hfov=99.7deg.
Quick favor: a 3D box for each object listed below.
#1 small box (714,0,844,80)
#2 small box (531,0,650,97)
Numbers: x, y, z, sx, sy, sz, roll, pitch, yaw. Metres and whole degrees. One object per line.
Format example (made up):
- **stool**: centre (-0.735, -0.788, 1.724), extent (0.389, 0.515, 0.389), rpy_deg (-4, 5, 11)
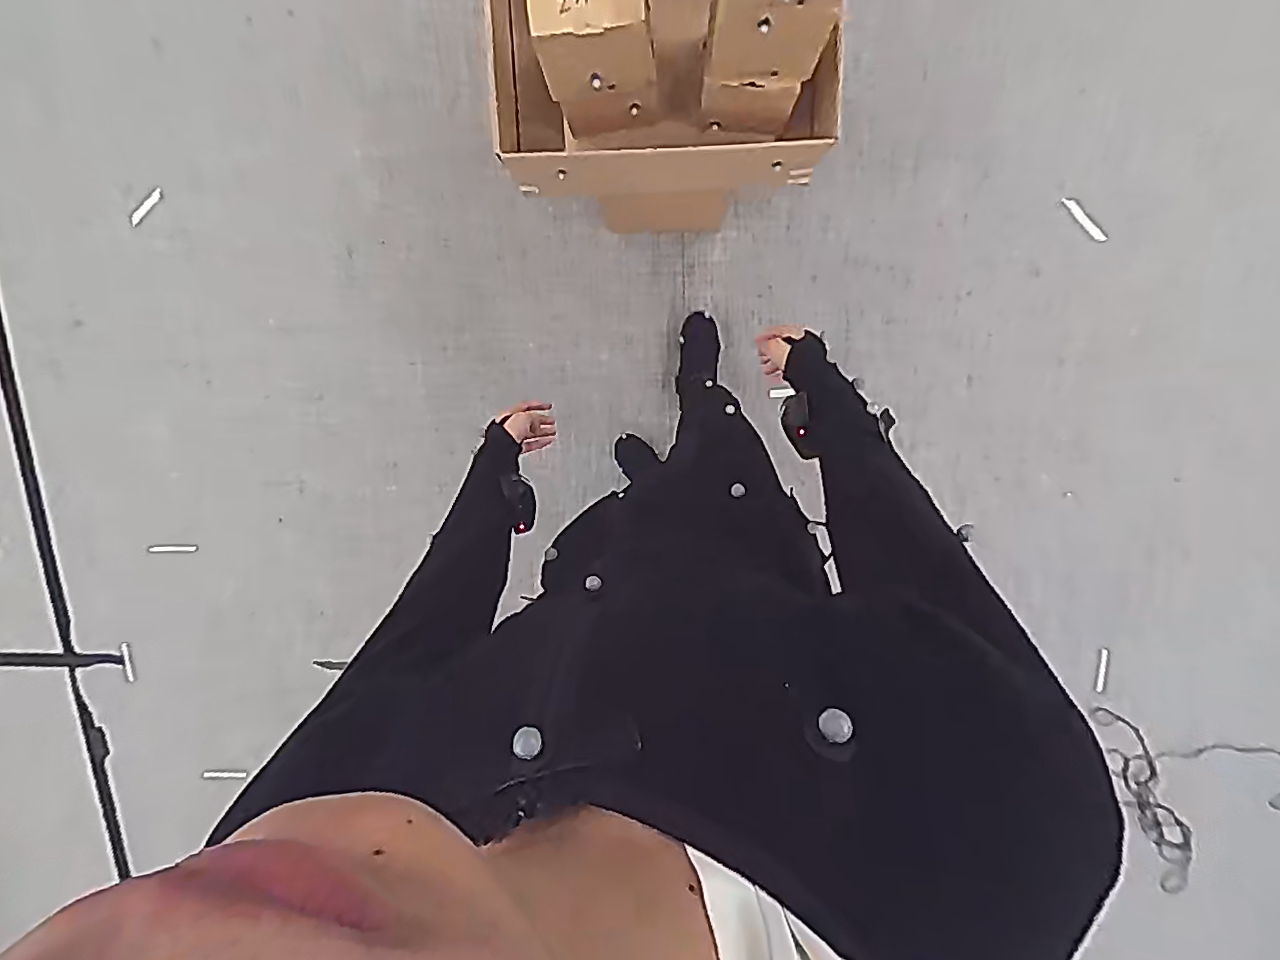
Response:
- **small box**: centre (0.203, -0.743, 0.807), extent (0.168, 0.176, 0.179), rpy_deg (2, 99, 2)
- **small box**: centre (-0.074, -0.729, 0.824), extent (0.168, 0.176, 0.179), rpy_deg (-5, 100, 2)
